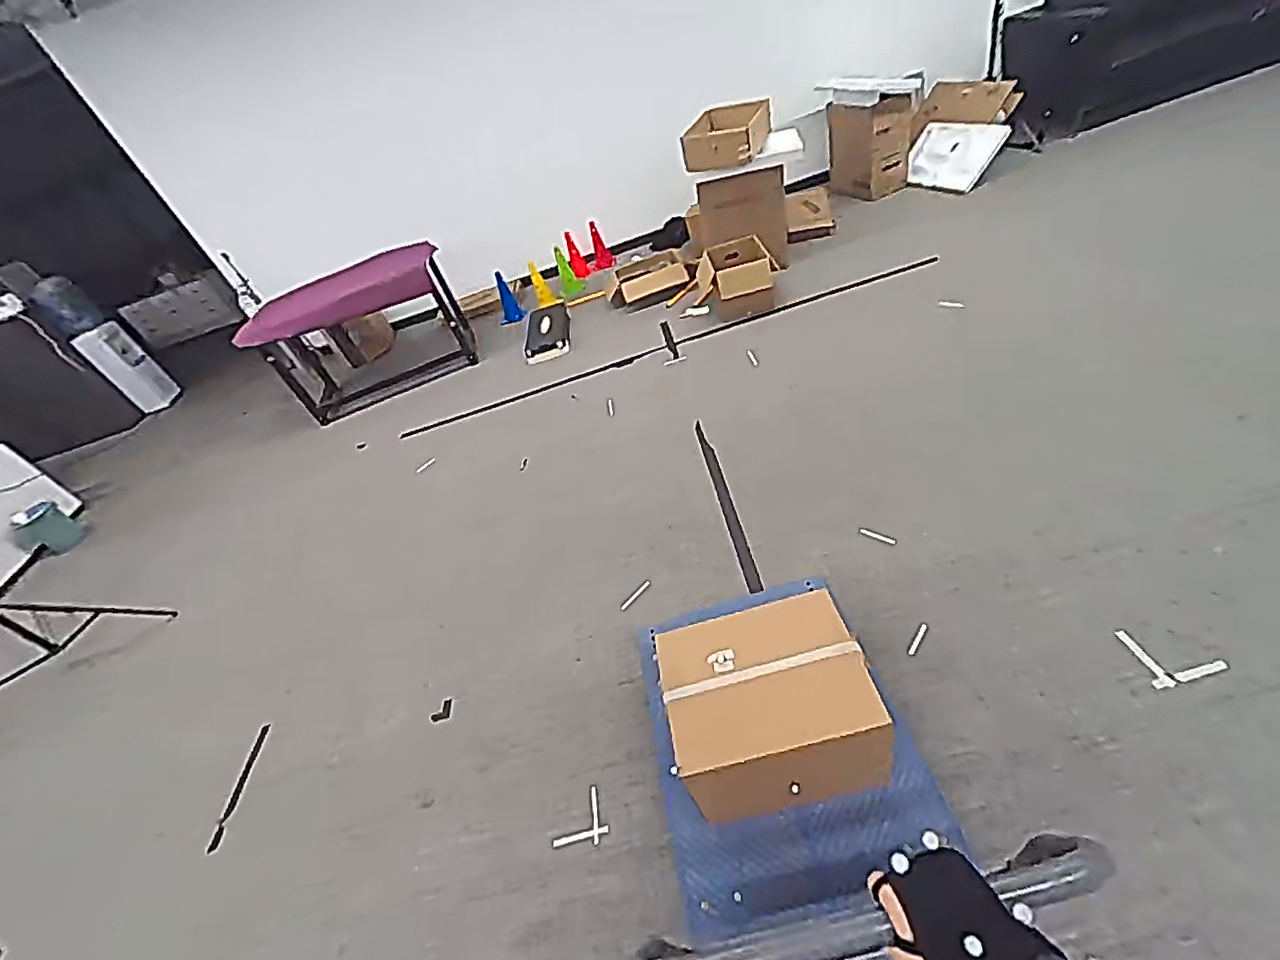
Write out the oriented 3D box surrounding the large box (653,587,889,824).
[{"bbox_3d":[0.281,0.498,1.190,0.408,0.320,0.320,-18,39,5],"label":"large box"}]
